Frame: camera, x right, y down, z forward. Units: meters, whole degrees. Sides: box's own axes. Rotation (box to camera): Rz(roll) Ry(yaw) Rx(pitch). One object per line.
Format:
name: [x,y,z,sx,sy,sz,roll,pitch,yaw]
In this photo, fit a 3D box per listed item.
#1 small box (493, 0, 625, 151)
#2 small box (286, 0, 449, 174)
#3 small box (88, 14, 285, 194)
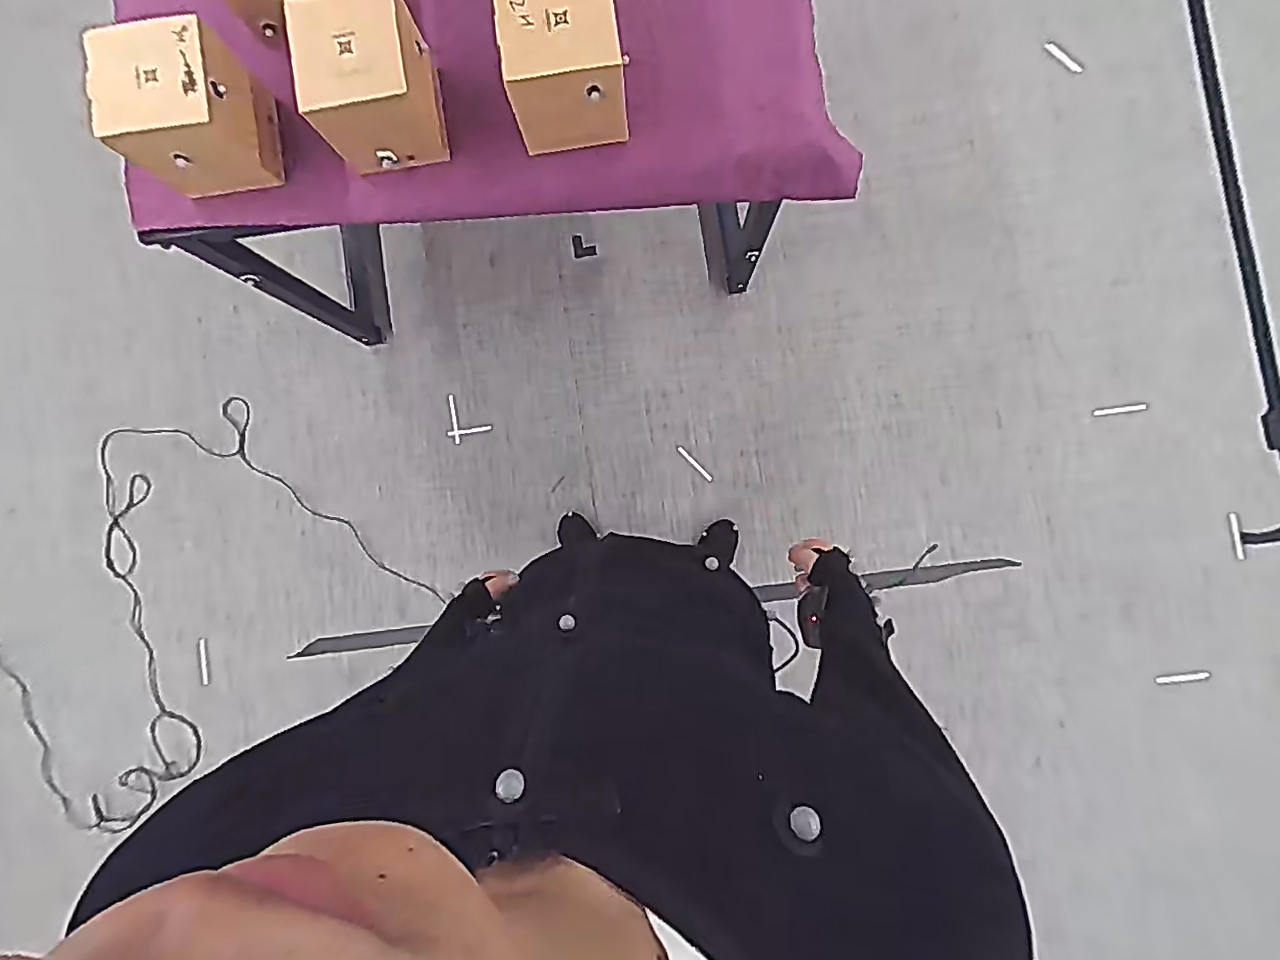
small box: [-0.120,-0.660,0.858,0.179,0.176,0.168,-8,88,2]
small box: [-0.427,-0.633,0.870,0.168,0.176,0.179,-9,90,2]
small box: [-0.720,-0.592,0.875,0.179,0.176,0.168,-7,89,2]
